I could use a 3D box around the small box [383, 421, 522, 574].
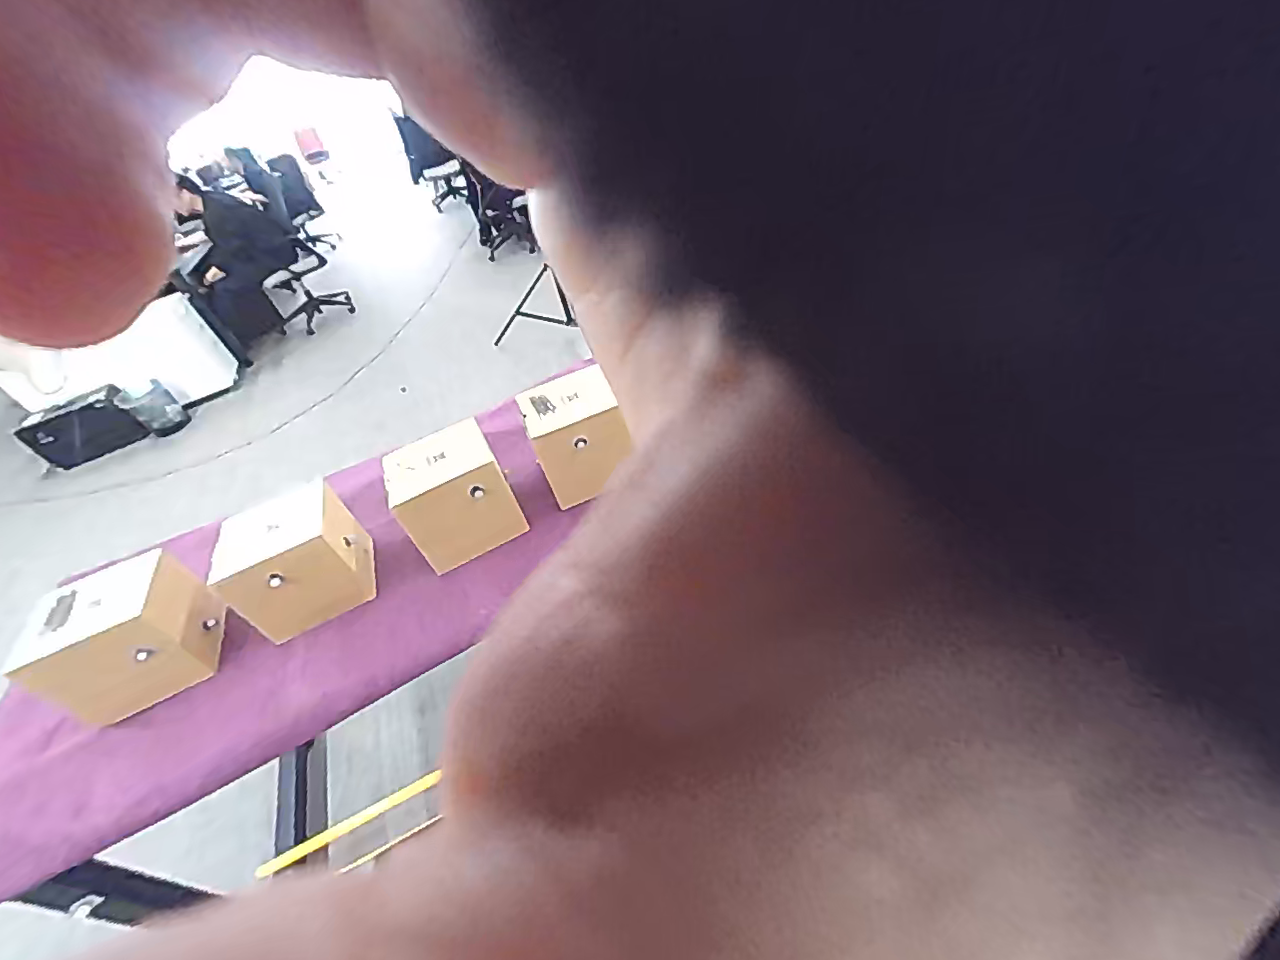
[{"bbox_3d":[-0.325,0.030,0.957,0.179,0.176,0.168,-27,40,-11],"label":"small box"}]

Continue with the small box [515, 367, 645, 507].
[{"bbox_3d":[-0.110,-0.079,1.004,0.179,0.176,0.168,-23,40,-7],"label":"small box"}]

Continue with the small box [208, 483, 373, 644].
[{"bbox_3d":[-0.578,0.142,0.925,0.179,0.176,0.168,-27,41,-10],"label":"small box"}]
